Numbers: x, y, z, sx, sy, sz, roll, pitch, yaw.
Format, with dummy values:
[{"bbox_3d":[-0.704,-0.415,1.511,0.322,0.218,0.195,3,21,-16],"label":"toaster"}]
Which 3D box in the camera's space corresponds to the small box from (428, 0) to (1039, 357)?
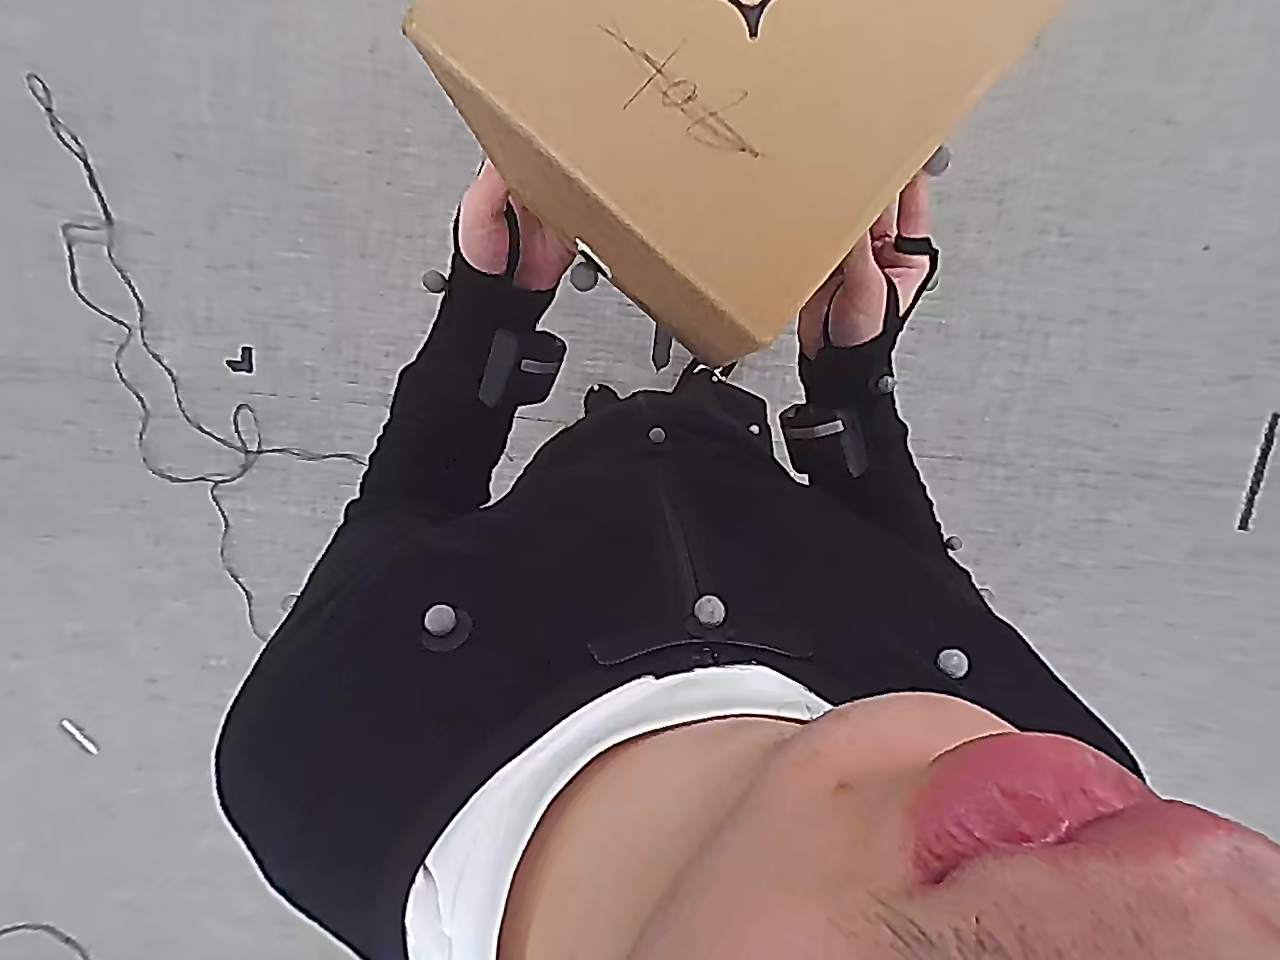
[{"bbox_3d":[0.039,-0.183,0.268,0.168,0.176,0.179,39,96,-4],"label":"small box"}]
